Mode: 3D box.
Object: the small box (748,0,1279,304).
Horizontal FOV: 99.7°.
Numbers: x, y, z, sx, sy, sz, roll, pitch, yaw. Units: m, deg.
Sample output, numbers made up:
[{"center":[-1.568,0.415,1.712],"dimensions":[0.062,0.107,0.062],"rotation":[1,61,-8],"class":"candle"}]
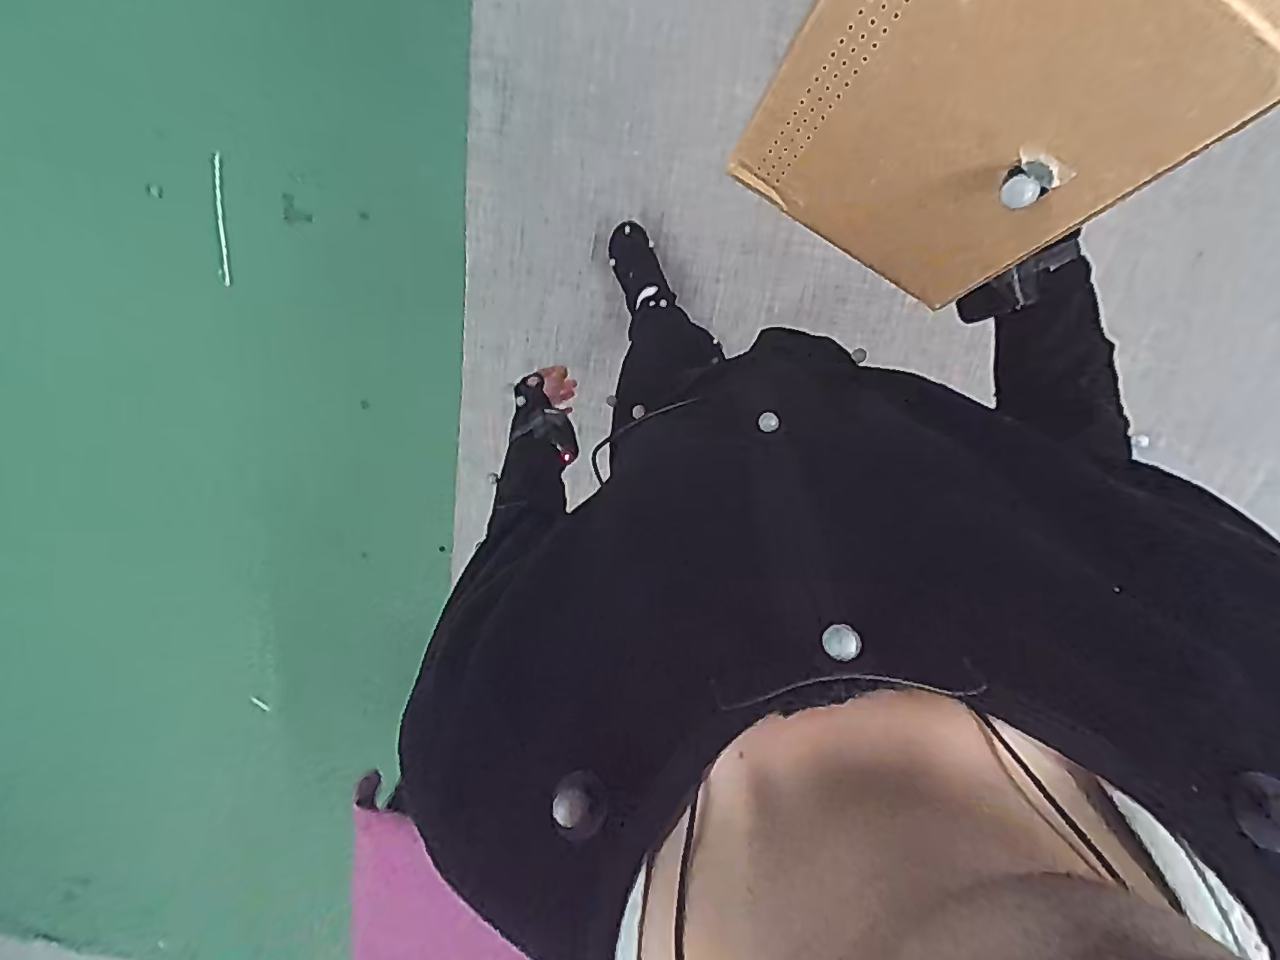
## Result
[{"center":[0.176,-0.234,0.273],"dimensions":[0.176,0.179,0.168],"rotation":[30,73,-9],"class":"small box"}]
